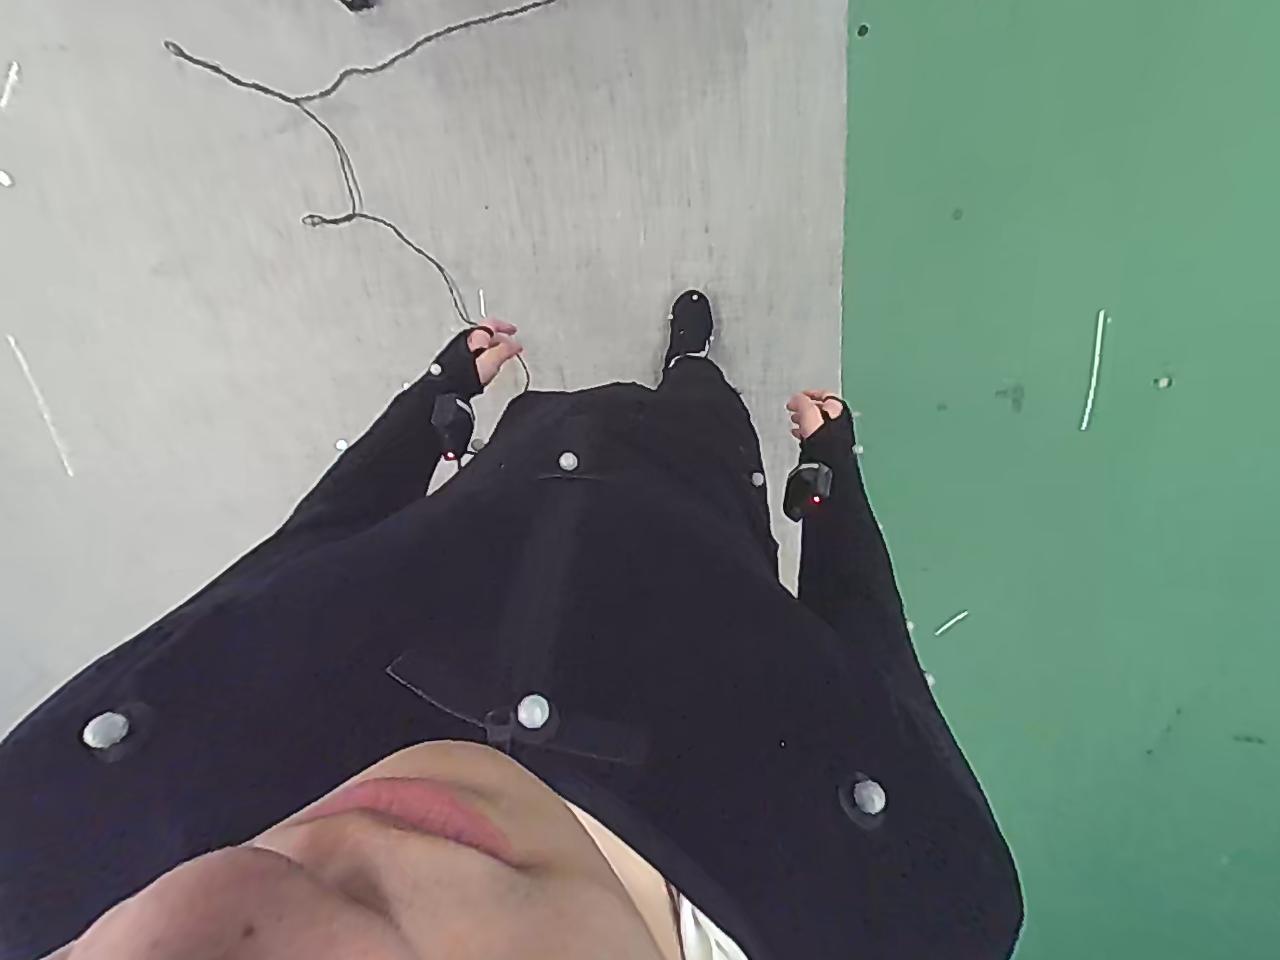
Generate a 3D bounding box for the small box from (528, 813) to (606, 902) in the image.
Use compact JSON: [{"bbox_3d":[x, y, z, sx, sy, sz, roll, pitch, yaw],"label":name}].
[{"bbox_3d":[-0.195,1.047,1.489,0.179,0.176,0.168,-1,108,5],"label":"small box"}]
